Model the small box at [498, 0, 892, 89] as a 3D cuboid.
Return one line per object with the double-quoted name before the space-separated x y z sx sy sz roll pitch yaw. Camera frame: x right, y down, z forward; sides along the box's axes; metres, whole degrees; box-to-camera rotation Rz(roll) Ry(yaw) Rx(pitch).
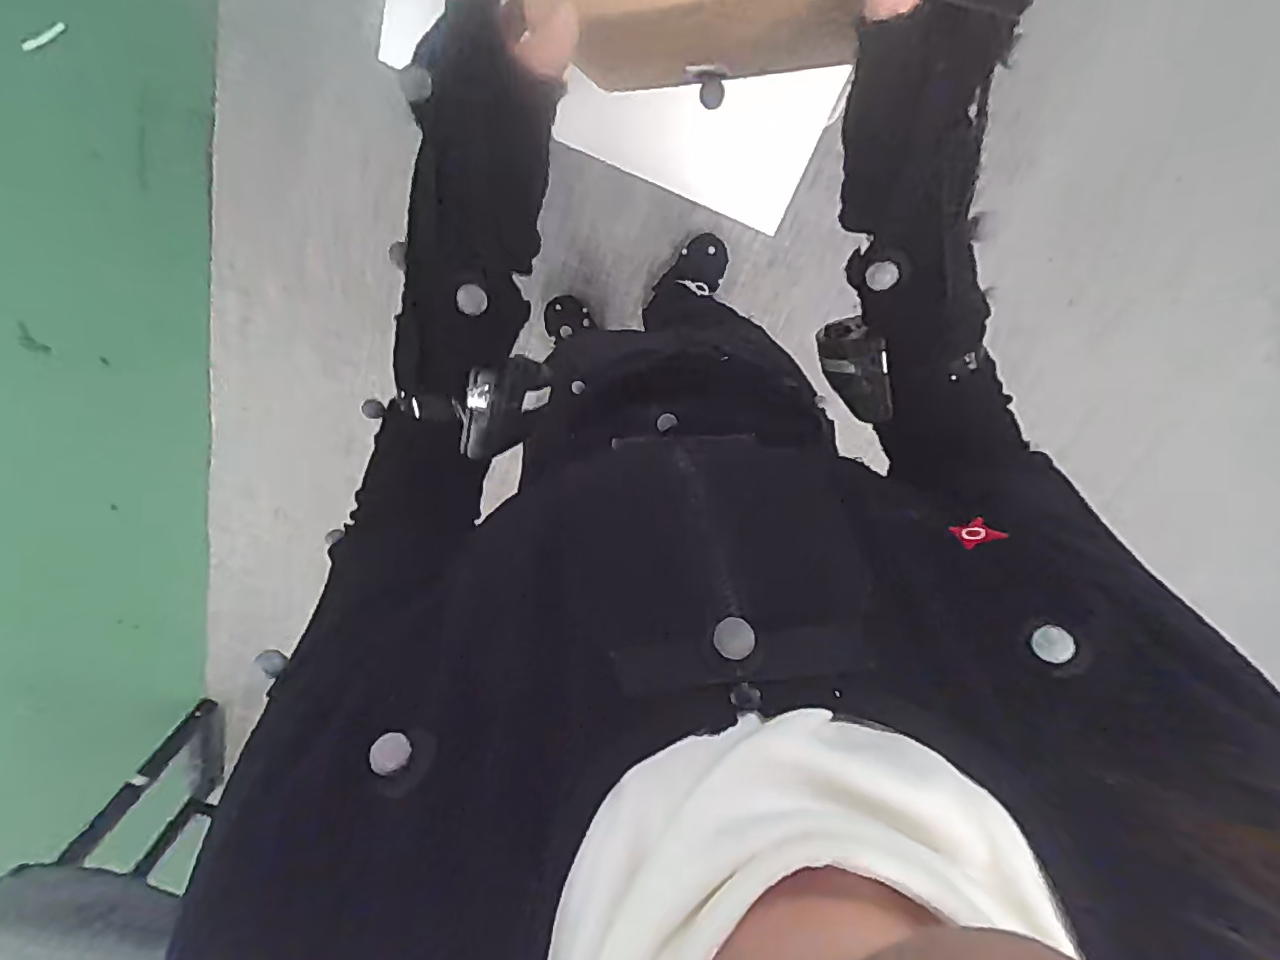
"small box" 0.029 -0.293 0.226 0.168 0.176 0.179 -1 118 12
